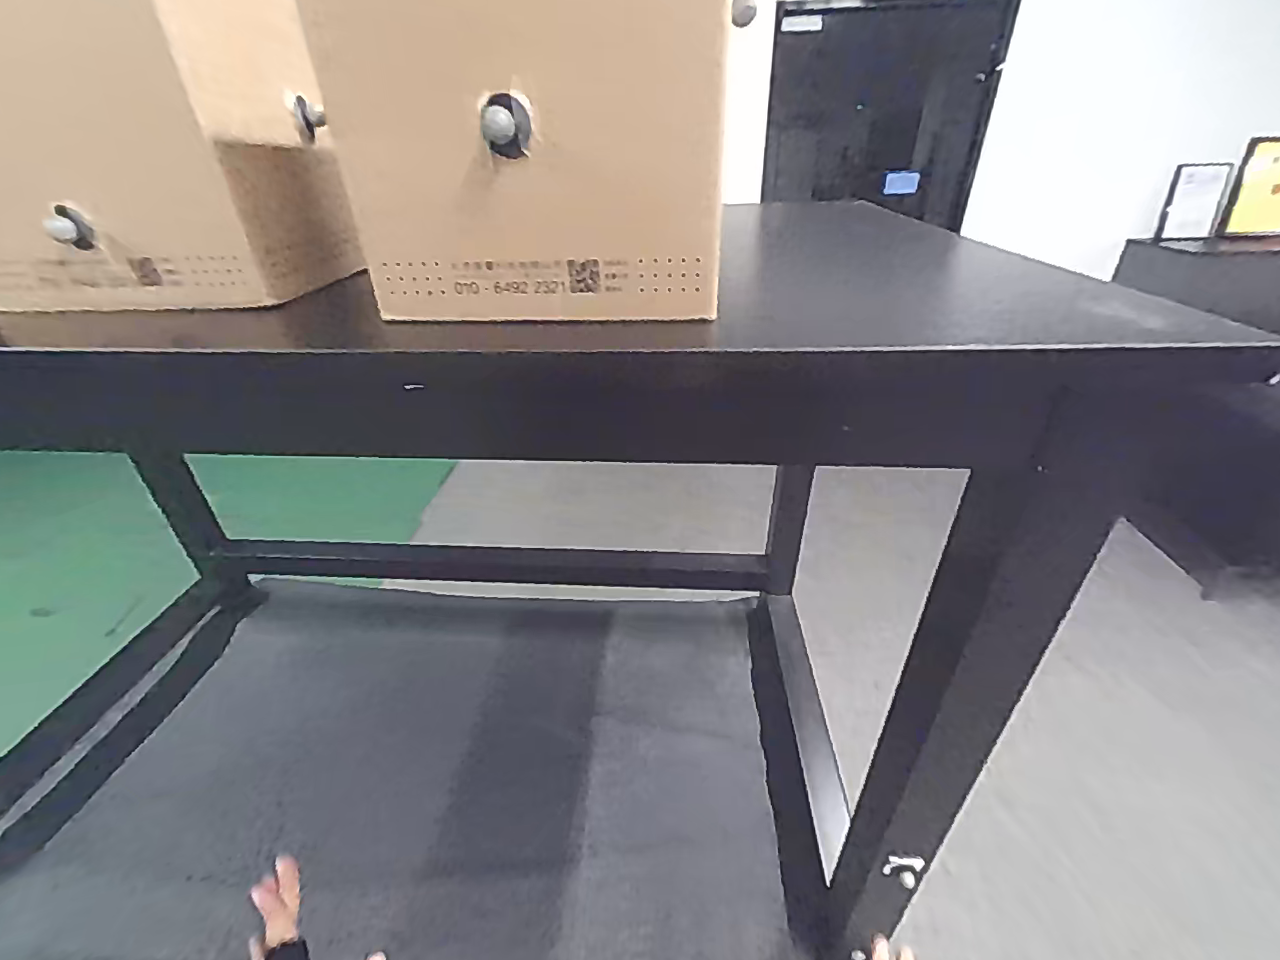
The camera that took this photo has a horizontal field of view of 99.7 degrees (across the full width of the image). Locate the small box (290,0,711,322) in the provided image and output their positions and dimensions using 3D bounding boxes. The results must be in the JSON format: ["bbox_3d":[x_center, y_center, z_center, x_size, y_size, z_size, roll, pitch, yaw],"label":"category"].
[{"bbox_3d":[-0.045,-0.189,0.294,0.168,0.176,0.179,2,32,5],"label":"small box"}]
